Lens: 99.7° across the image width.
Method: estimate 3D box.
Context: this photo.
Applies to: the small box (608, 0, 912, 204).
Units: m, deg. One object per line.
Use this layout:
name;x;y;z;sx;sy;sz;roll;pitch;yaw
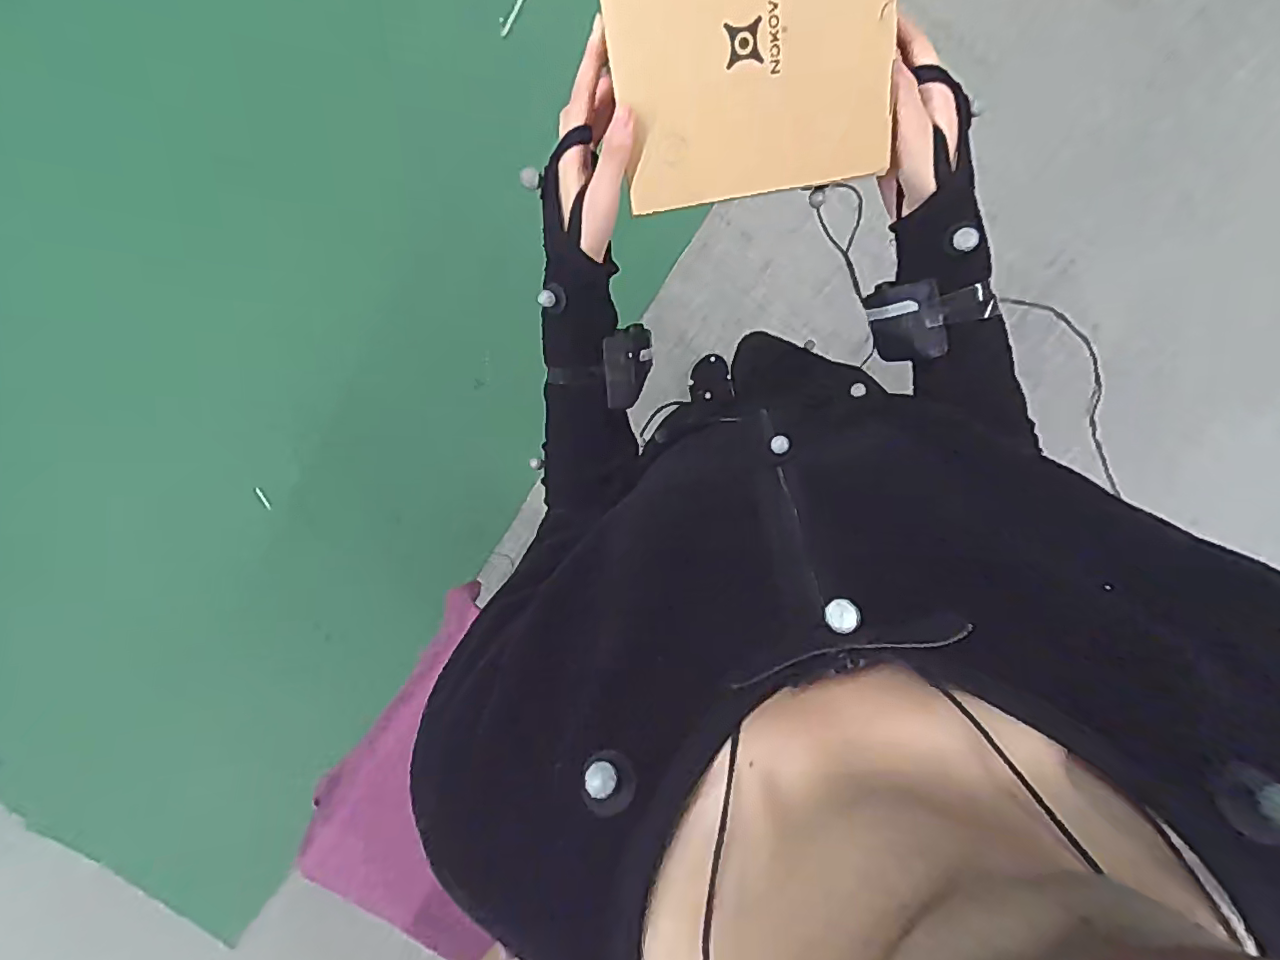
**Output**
small box;0.071;-0.302;0.389;0.179;0.176;0.168;-8;116;2
